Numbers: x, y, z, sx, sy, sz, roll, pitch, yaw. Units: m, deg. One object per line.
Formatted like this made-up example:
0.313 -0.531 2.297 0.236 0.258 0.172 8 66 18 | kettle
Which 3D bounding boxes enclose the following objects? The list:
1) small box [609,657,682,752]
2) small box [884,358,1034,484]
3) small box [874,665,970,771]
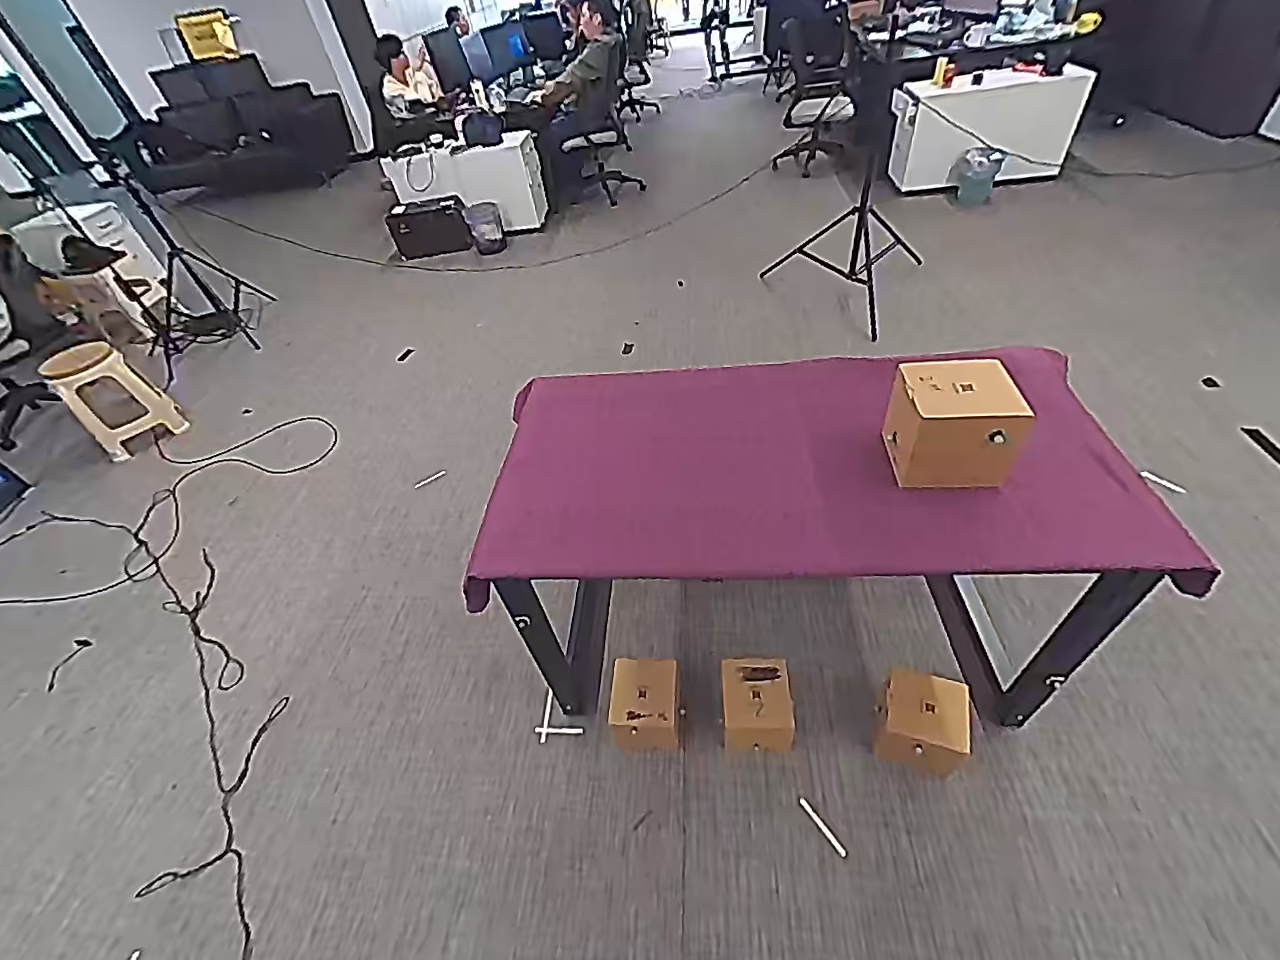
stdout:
0.021 0.592 1.431 0.168 0.176 0.179 -1 44 9 | small box
0.568 -0.104 0.991 0.179 0.176 0.168 -1 44 9 | small box
0.686 0.586 1.323 0.179 0.176 0.168 10 49 21 | small box
